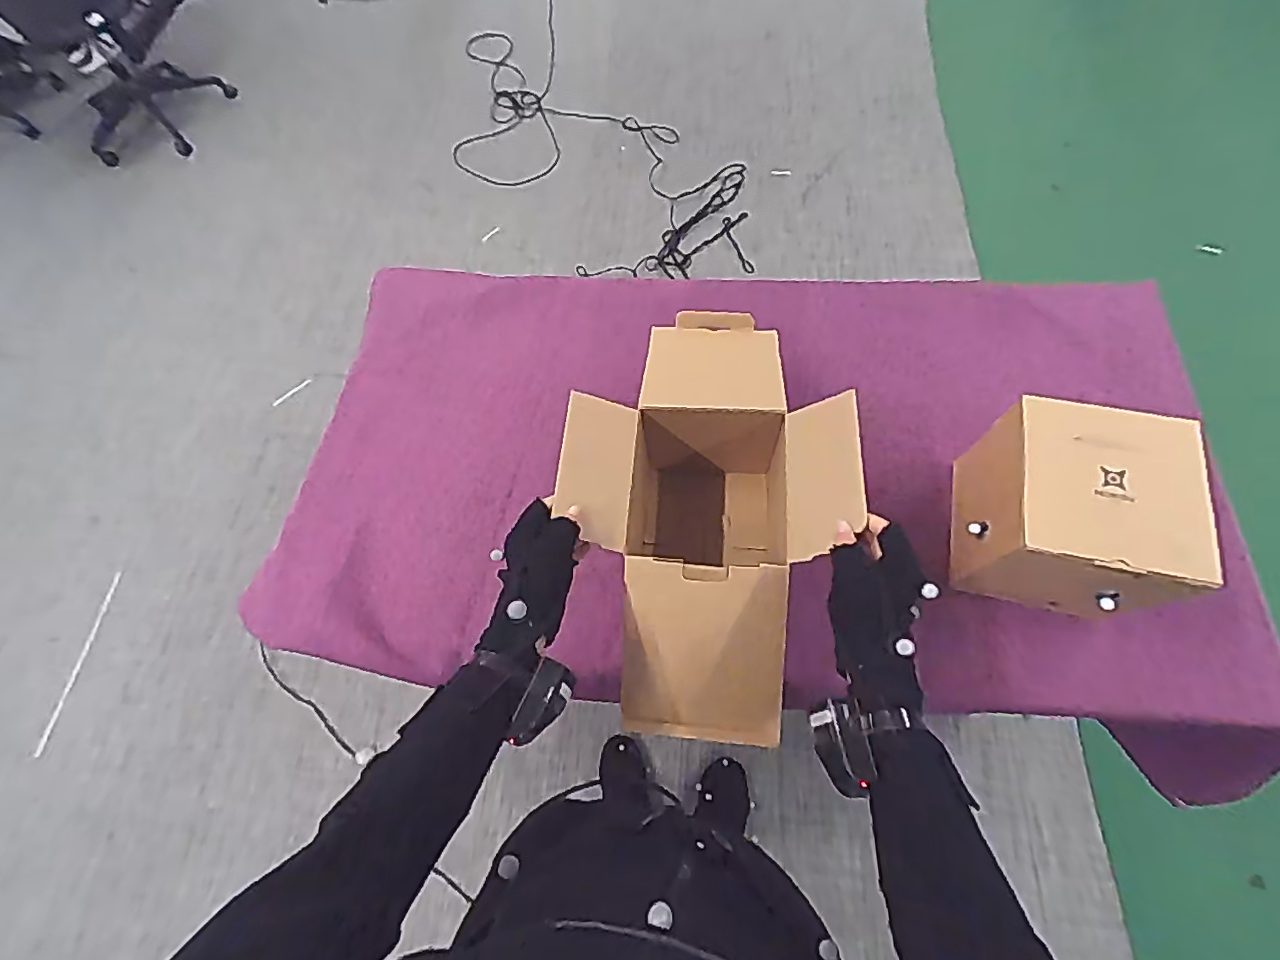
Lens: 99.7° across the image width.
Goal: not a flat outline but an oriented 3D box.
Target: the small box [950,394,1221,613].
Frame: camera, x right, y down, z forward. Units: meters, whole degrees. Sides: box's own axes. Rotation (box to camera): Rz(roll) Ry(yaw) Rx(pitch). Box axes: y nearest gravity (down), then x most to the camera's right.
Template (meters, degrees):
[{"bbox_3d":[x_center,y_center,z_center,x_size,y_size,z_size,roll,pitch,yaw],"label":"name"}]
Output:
[{"bbox_3d":[0.465,0.034,0.595,0.168,0.176,0.179,12,67,11],"label":"small box"}]
